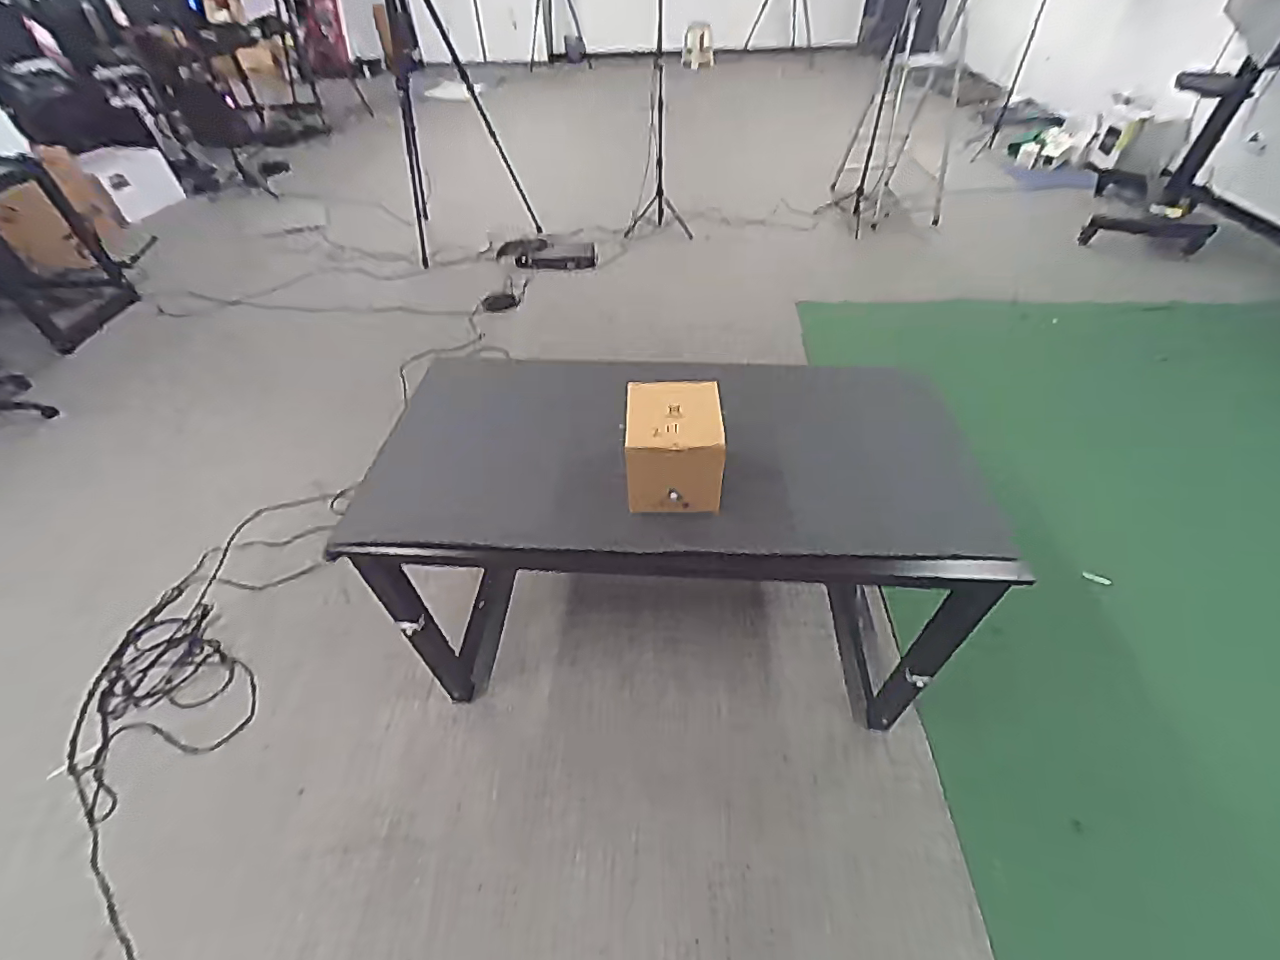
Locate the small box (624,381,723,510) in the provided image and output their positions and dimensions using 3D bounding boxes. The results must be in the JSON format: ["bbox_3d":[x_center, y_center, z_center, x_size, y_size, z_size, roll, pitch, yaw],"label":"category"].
[{"bbox_3d":[0.057,-0.064,0.990,0.168,0.176,0.179,-1,45,2],"label":"small box"}]
